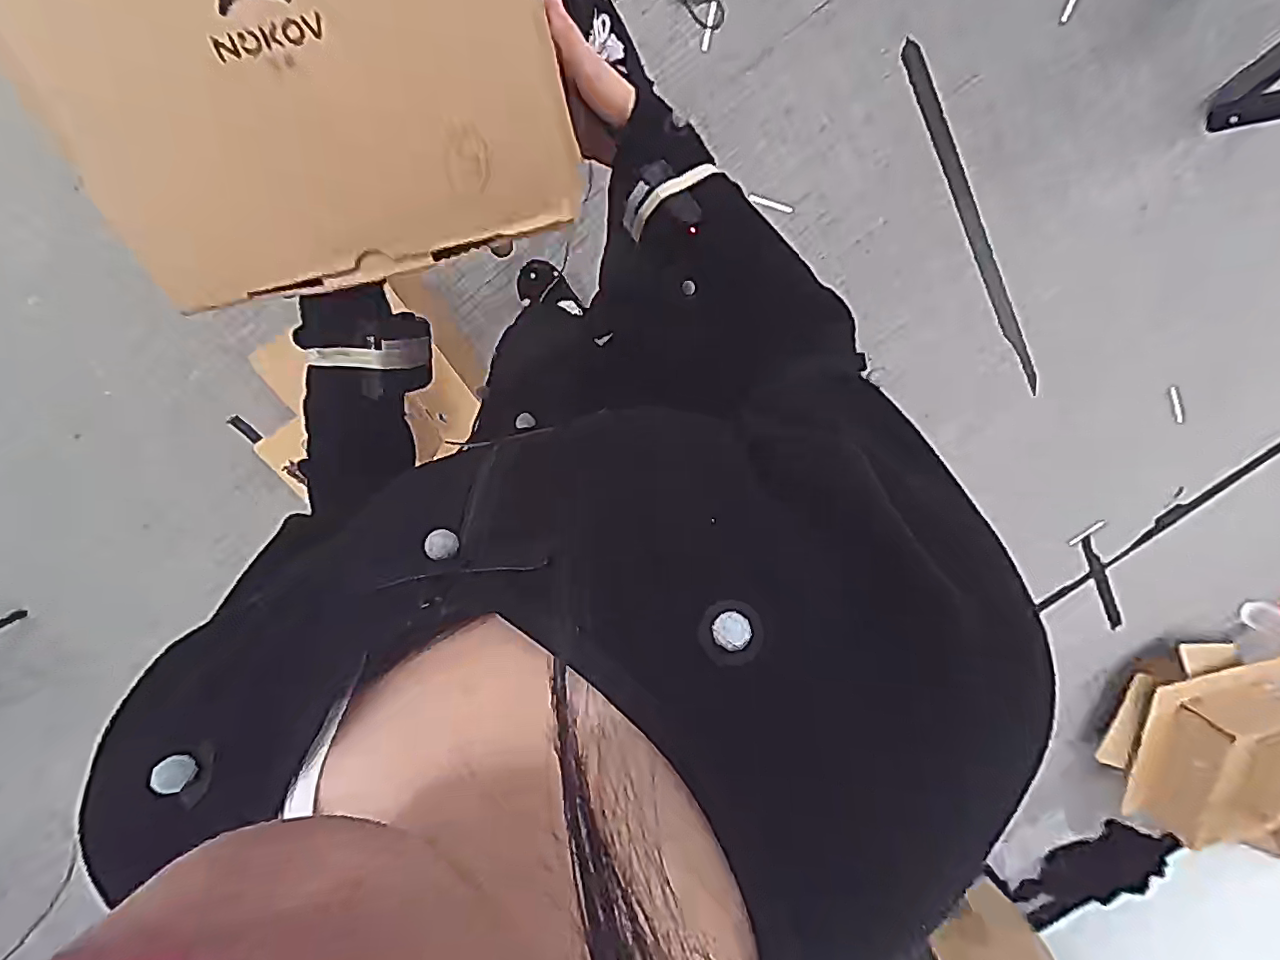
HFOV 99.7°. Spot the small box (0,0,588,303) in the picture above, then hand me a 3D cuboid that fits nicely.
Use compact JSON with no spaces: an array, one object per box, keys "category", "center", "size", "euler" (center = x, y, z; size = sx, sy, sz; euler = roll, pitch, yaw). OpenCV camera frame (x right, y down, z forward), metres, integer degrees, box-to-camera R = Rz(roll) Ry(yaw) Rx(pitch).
[{"category":"small box","center":[-0.119,-0.198,0.230],"size":[0.168,0.176,0.179],"euler":[-12,122,2]}]

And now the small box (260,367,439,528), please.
[{"category":"small box","center":[-0.446,-0.061,0.870],"size":[0.179,0.176,0.168],"euler":[-32,113,3]}]
